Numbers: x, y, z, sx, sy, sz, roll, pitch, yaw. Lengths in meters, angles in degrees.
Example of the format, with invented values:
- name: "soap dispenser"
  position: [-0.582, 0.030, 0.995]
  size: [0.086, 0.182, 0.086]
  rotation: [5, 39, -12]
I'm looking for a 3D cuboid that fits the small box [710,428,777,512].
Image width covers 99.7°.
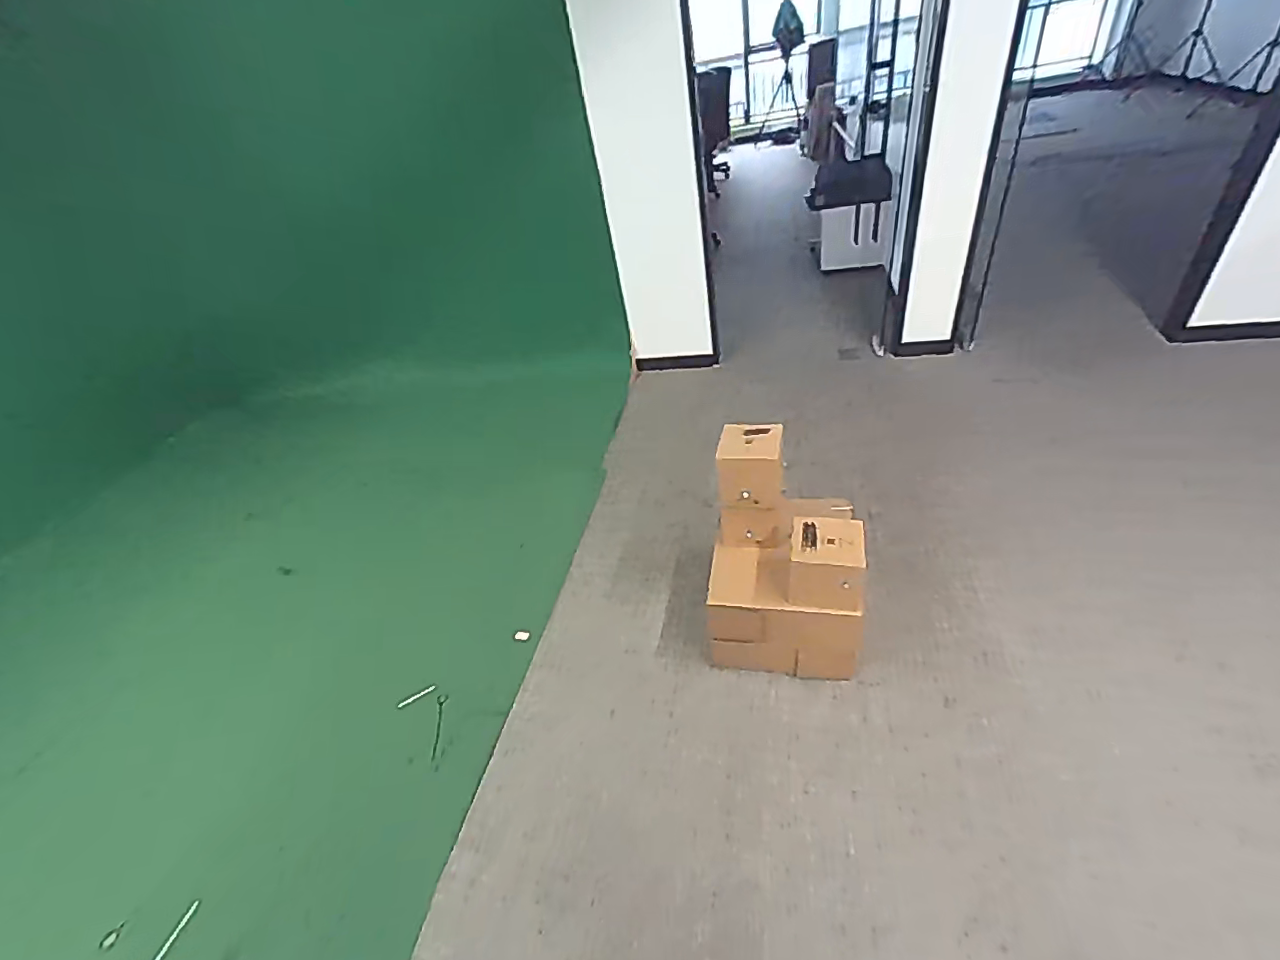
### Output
- name: "small box"
  position: [0.298, -0.032, 1.526]
  size: [0.168, 0.176, 0.179]
  rotation: [1, 37, 18]

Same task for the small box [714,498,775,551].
- name: "small box"
  position: [0.321, 0.091, 1.635]
  size: [0.168, 0.176, 0.179]
  rotation: [0, 36, 16]
